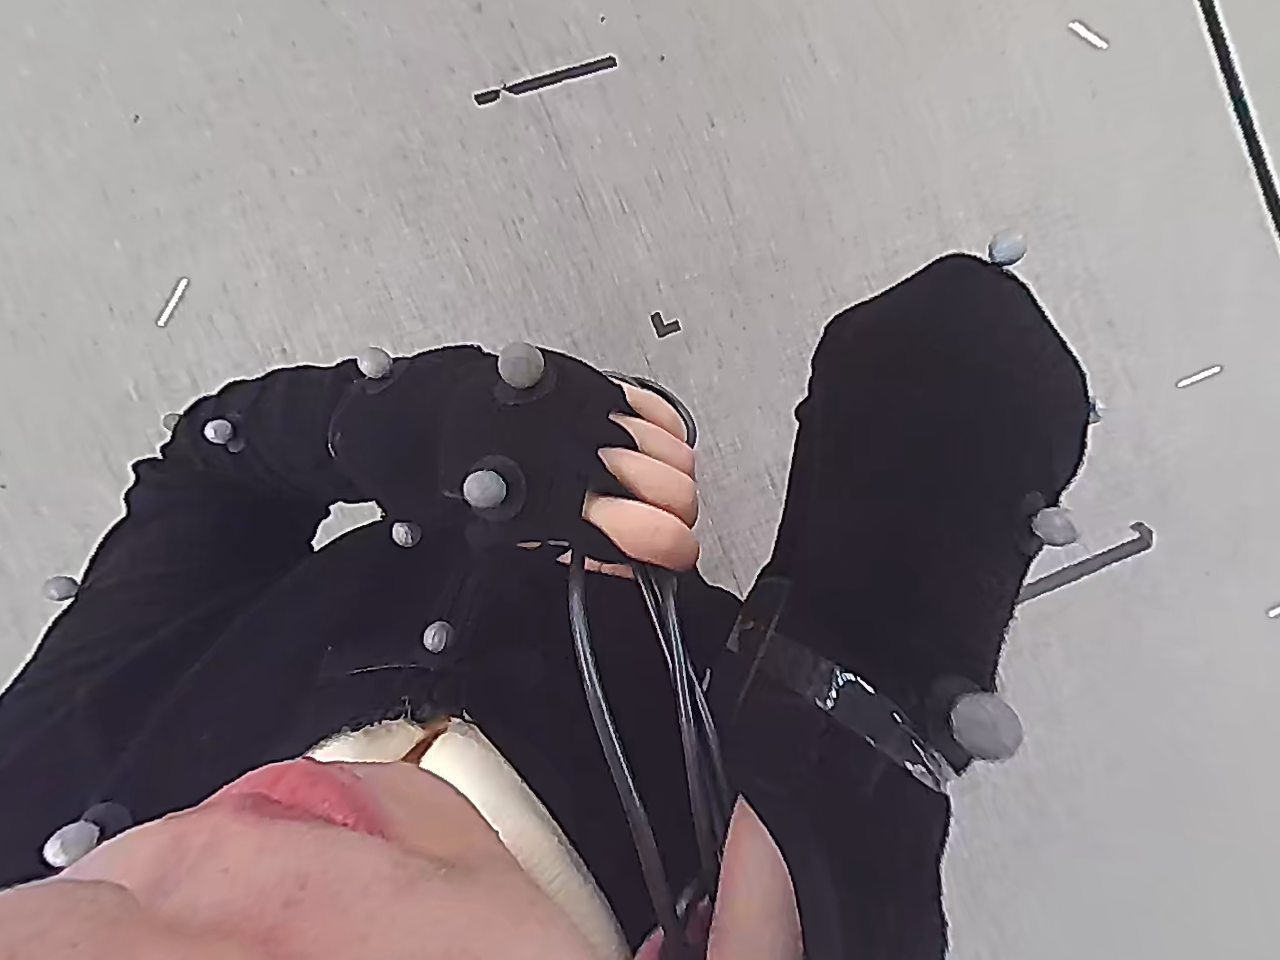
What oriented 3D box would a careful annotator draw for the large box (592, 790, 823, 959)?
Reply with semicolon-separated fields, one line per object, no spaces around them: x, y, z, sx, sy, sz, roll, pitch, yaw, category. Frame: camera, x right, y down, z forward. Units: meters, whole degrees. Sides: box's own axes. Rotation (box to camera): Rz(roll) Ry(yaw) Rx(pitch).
0.139;1.018;1.220;0.408;0.320;0.320;-34;94;-4;large box
